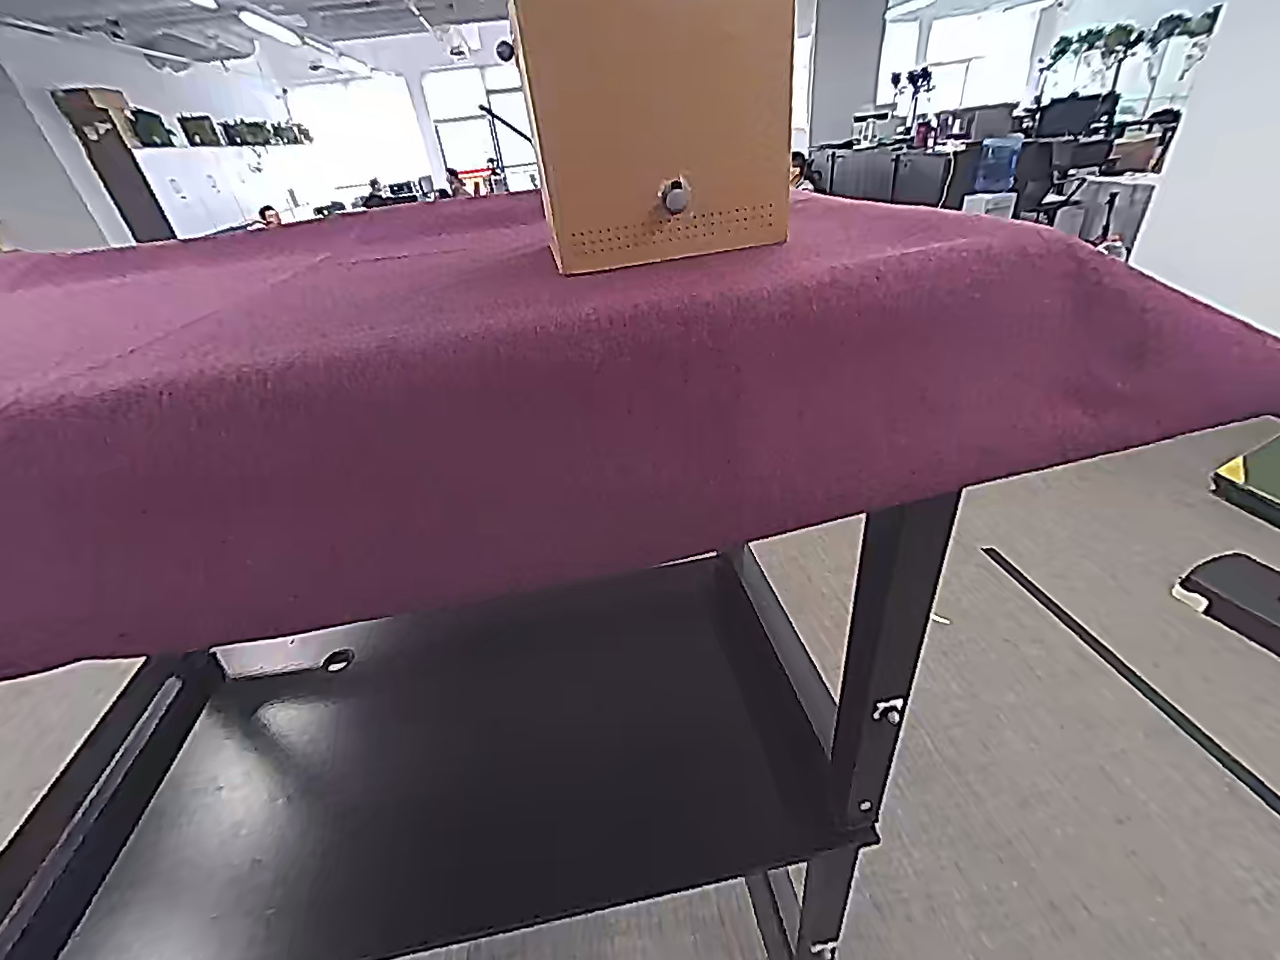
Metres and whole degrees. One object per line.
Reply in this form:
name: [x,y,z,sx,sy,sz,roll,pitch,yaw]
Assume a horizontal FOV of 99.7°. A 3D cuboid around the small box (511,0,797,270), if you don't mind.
small box: [0.004,-0.274,0.422,0.179,0.176,0.168,-11,32,-6]
